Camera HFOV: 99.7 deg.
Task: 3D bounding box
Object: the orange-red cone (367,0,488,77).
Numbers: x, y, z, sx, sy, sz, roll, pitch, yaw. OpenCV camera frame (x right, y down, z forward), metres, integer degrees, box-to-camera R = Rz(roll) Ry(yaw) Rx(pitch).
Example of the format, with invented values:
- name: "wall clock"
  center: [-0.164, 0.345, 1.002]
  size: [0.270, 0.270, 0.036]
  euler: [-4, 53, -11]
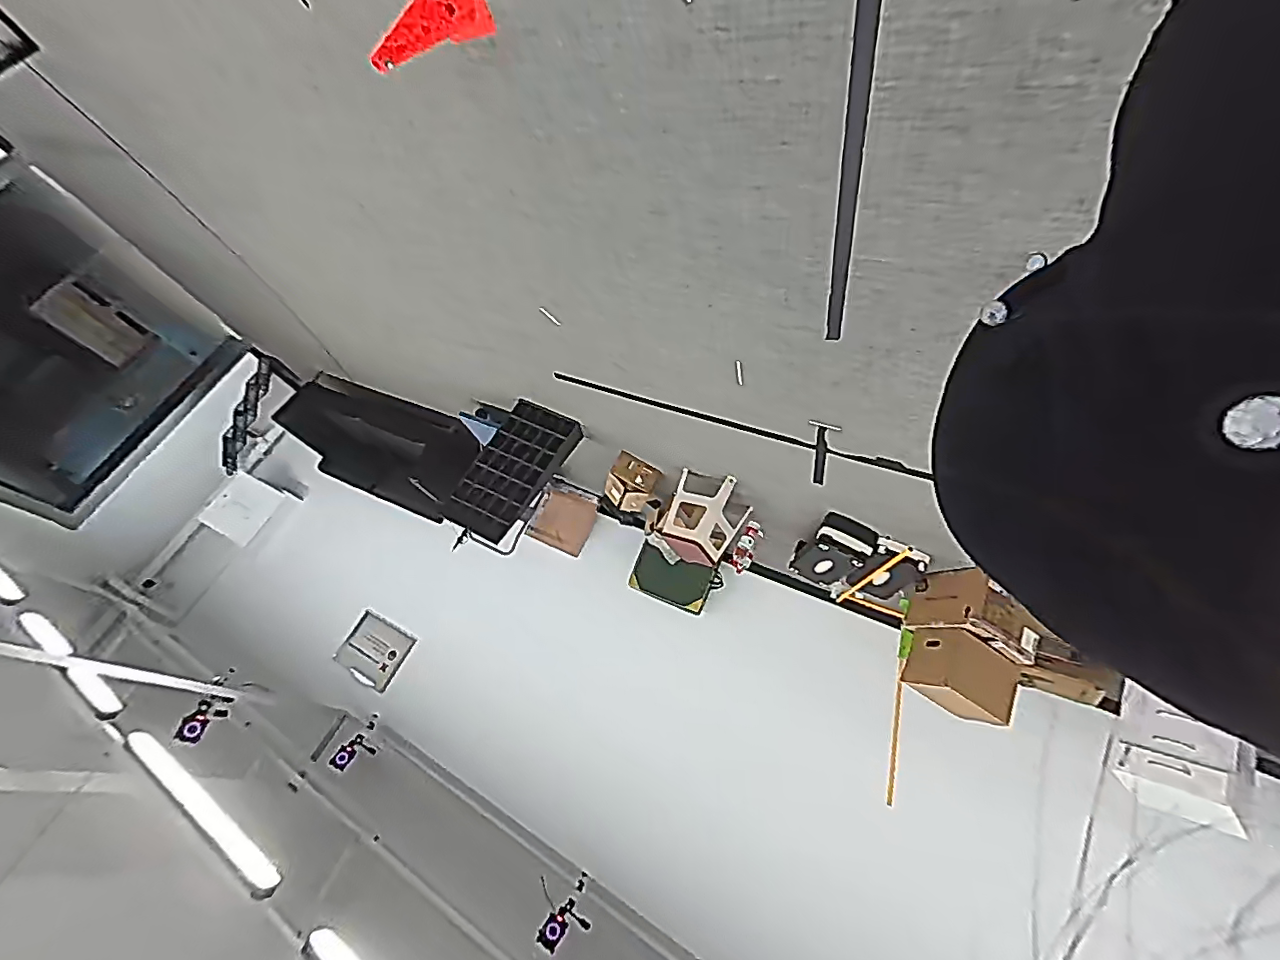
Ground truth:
- name: "orange-red cone"
  center: [-0.614, -1.214, 1.467]
  size: [0.198, 0.360, 0.199]
  euler: [18, 158, 29]
